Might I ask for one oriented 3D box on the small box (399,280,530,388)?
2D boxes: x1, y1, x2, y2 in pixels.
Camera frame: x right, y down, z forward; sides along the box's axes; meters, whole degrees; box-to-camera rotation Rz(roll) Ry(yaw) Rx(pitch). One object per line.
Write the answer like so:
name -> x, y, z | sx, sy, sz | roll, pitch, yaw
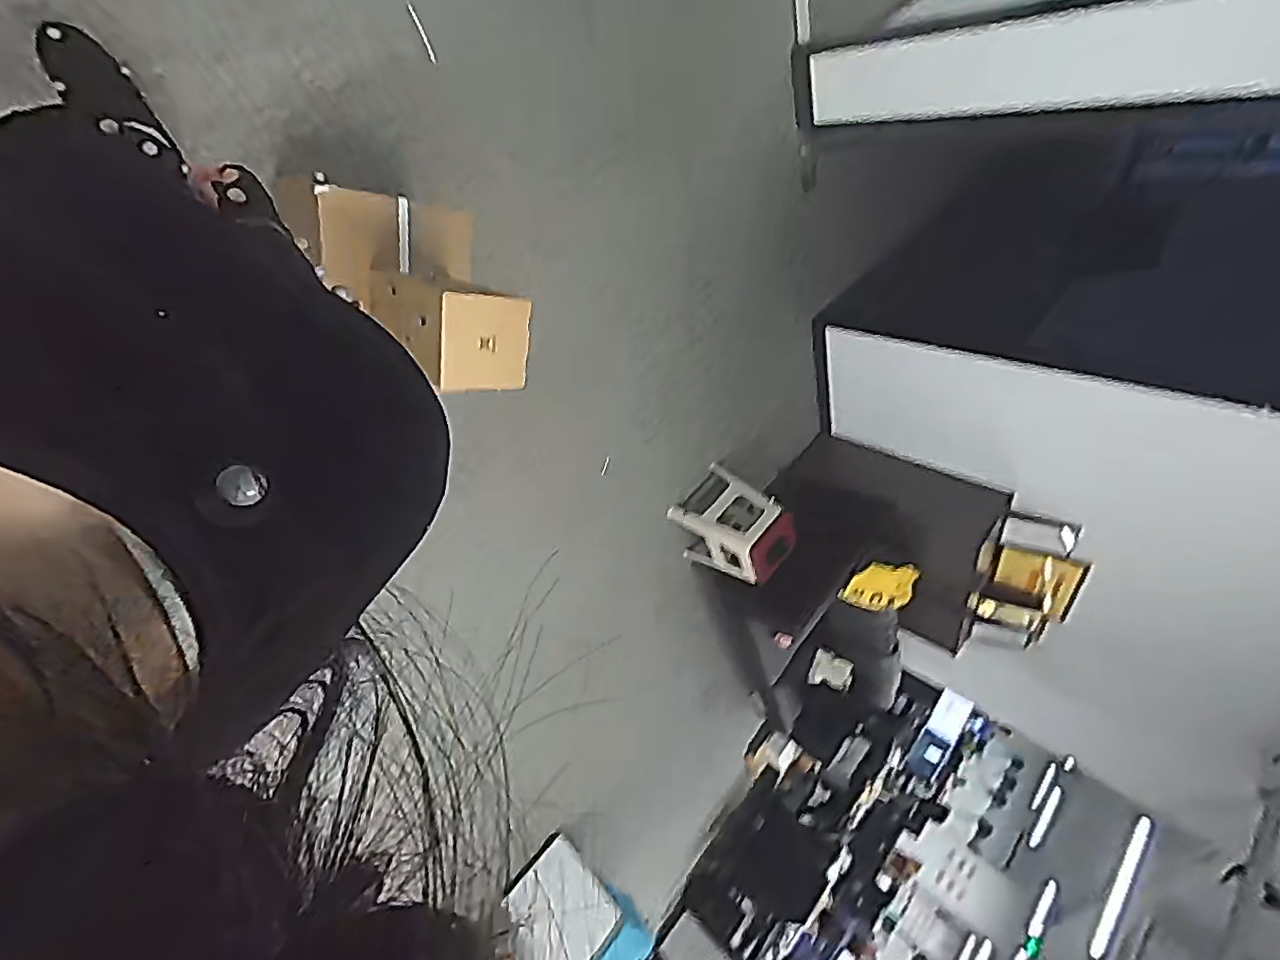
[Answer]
small box -> -0.330, -0.272, 1.004 | 0.179, 0.176, 0.168 | -13, 120, -45
